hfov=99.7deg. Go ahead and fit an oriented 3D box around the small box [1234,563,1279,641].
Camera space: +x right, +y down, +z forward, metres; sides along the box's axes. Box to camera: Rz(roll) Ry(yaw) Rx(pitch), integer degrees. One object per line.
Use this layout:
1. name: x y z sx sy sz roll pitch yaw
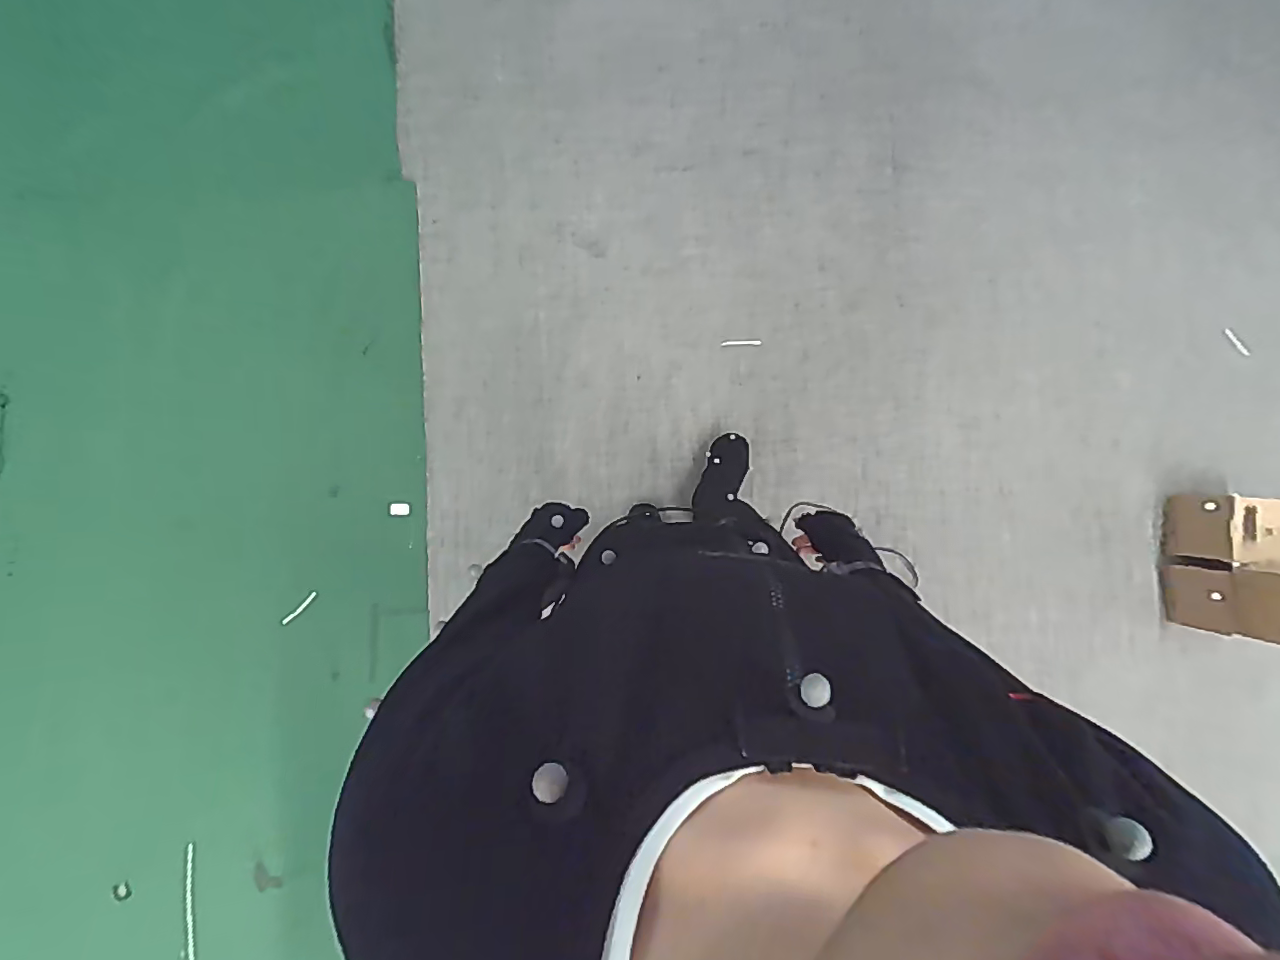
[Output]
1. small box: 1.556 0.288 1.263 0.168 0.176 0.179 -3 89 -1
